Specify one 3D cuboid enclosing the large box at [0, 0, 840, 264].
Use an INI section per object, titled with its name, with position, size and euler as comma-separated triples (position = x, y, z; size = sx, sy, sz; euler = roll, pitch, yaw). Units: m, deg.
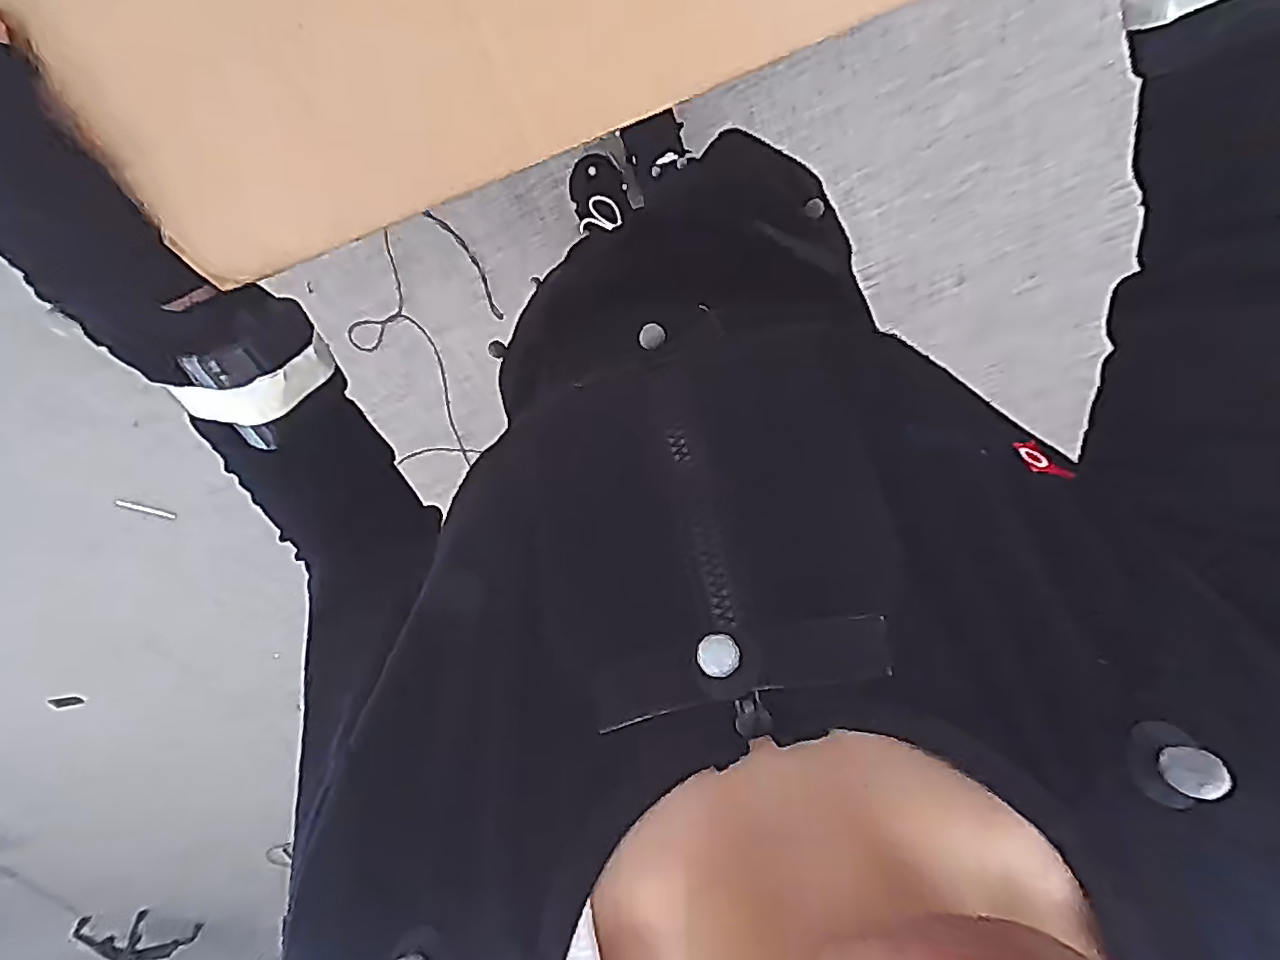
[large box]
position = -0.080, -0.363, 0.203
size = 0.408, 0.320, 0.320
euler = -17, 141, 9
